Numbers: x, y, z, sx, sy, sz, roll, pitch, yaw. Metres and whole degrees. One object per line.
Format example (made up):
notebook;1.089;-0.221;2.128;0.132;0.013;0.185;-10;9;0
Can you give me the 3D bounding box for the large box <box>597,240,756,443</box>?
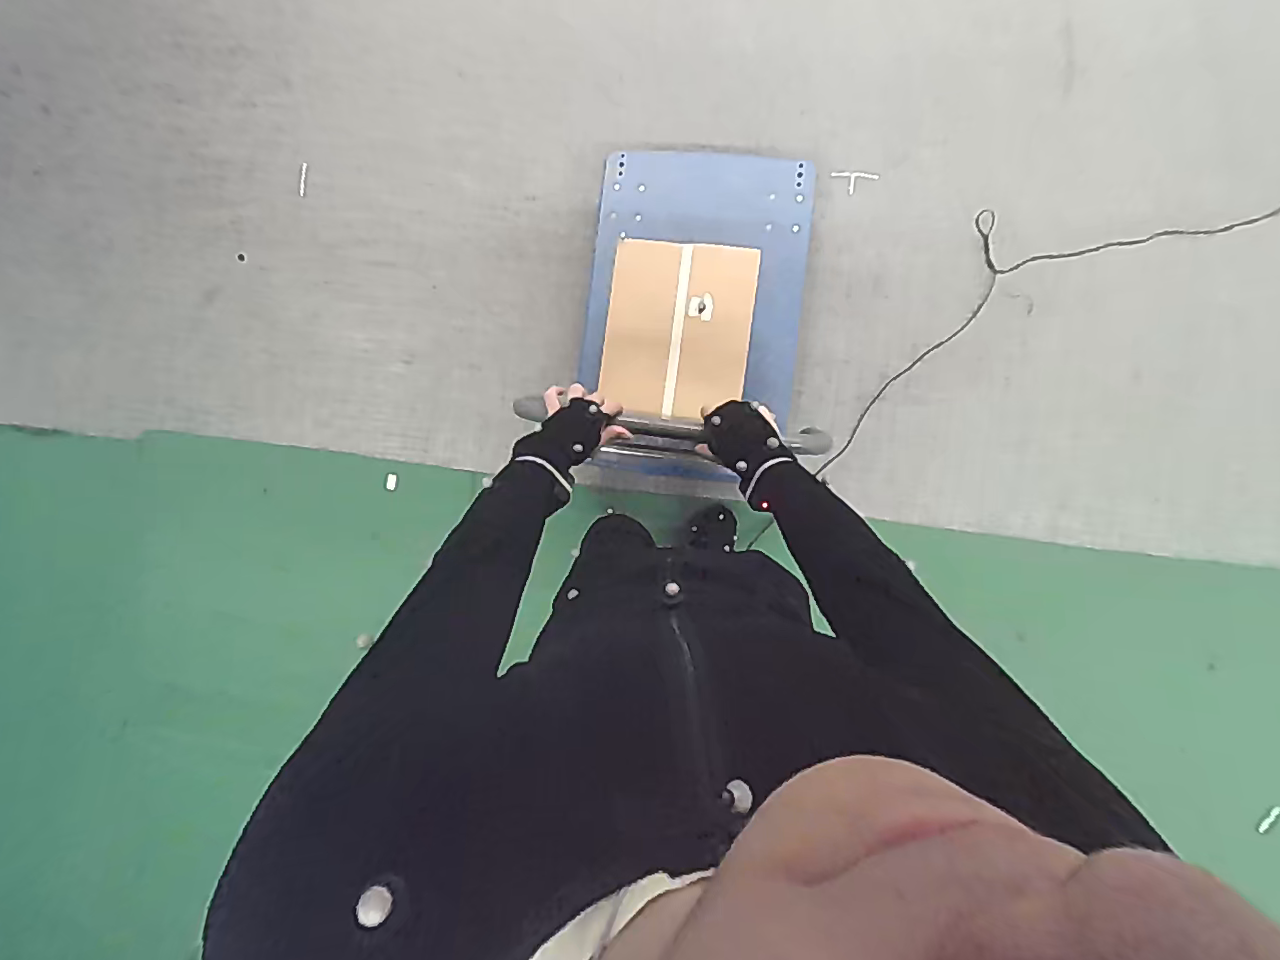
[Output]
large box;0.094;-0.311;1.316;0.320;0.320;0.408;7;89;5
